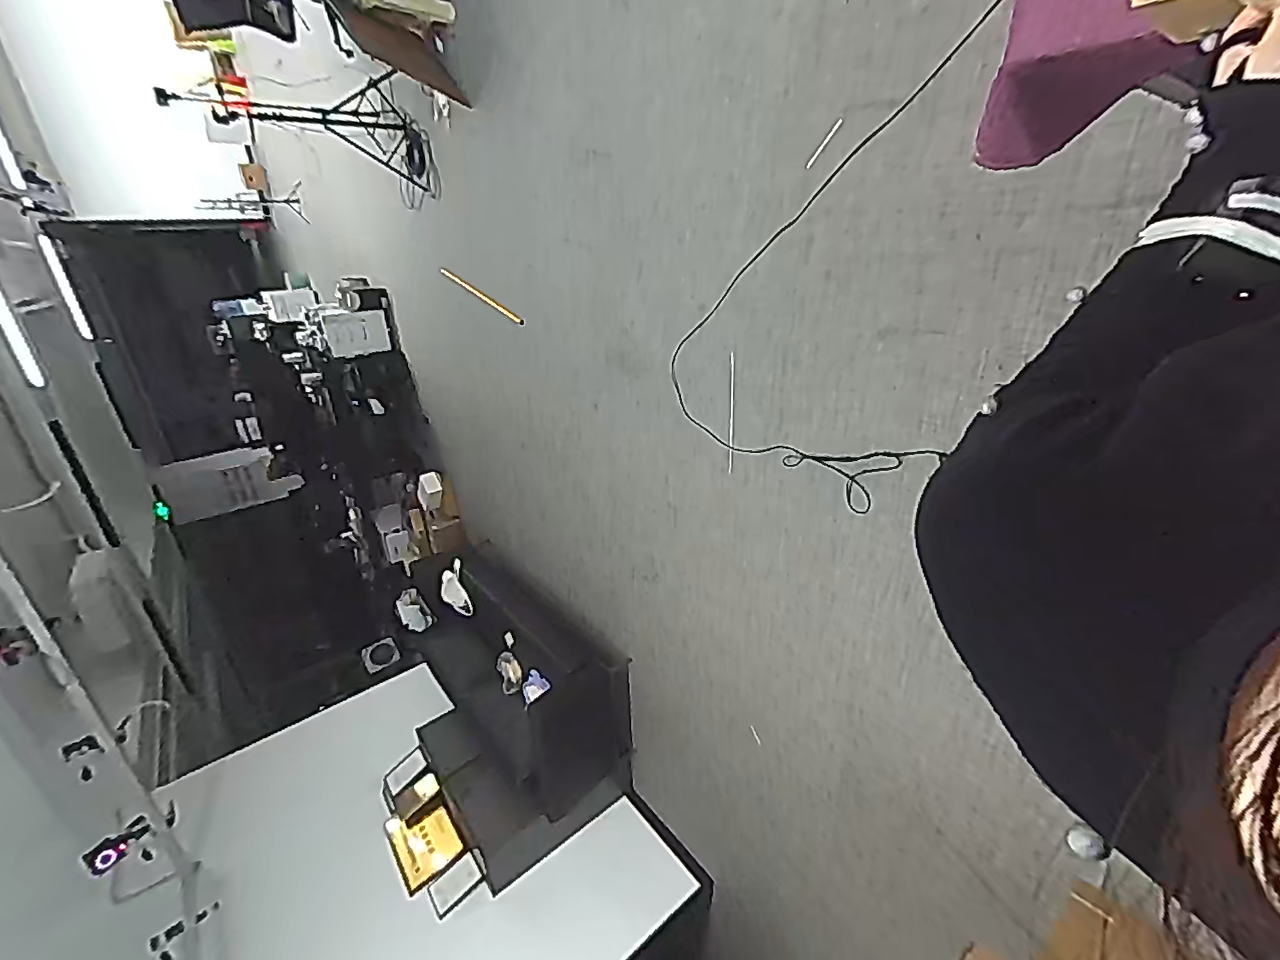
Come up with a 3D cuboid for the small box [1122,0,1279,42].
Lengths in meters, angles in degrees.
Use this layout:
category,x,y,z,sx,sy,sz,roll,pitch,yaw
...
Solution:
category,x,y,z,sx,sy,sz,roll,pitch,yaw
small box,0.487,-0.433,0.373,0.168,0.176,0.179,27,126,45
